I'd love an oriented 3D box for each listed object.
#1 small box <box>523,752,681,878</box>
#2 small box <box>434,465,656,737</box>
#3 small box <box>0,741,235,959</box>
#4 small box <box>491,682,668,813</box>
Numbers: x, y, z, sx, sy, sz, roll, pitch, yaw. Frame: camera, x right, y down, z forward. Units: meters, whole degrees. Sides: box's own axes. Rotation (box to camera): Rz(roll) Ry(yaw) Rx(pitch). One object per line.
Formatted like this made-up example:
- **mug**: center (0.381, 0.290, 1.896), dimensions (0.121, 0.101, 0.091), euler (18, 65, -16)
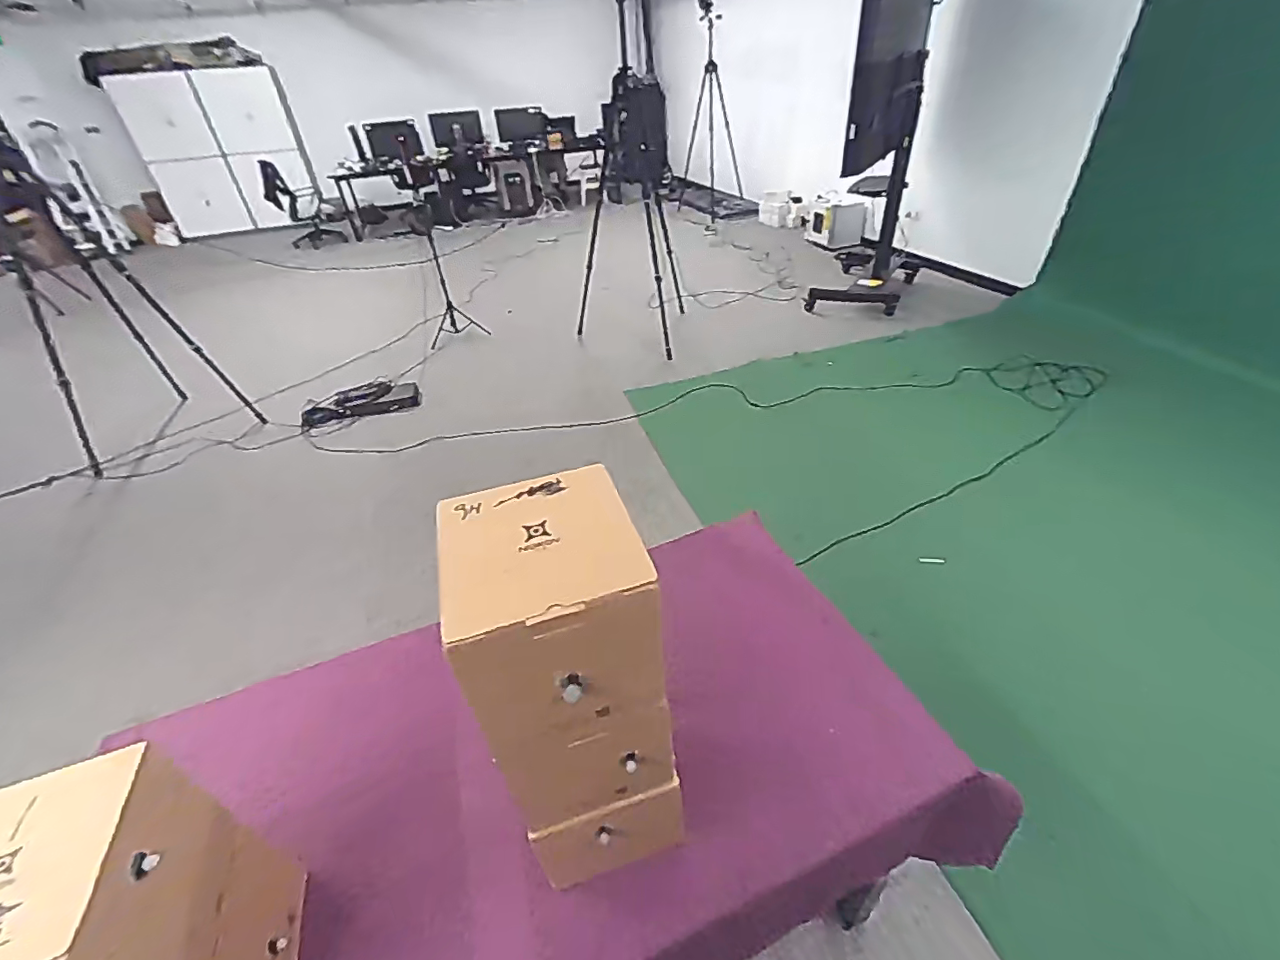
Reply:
- **small box**: center (-0.054, 0.380, 0.707), dimensions (0.179, 0.176, 0.168), euler (-14, 38, -10)
- **small box**: center (-0.088, 0.116, 0.516), dimensions (0.168, 0.176, 0.179), euler (-14, 39, -12)
- **small box**: center (-0.513, 0.387, 0.493), dimensions (0.168, 0.176, 0.179), euler (-16, 37, -14)
- **small box**: center (-0.071, 0.246, 0.615), dimensions (0.168, 0.176, 0.179), euler (-14, 37, -10)
